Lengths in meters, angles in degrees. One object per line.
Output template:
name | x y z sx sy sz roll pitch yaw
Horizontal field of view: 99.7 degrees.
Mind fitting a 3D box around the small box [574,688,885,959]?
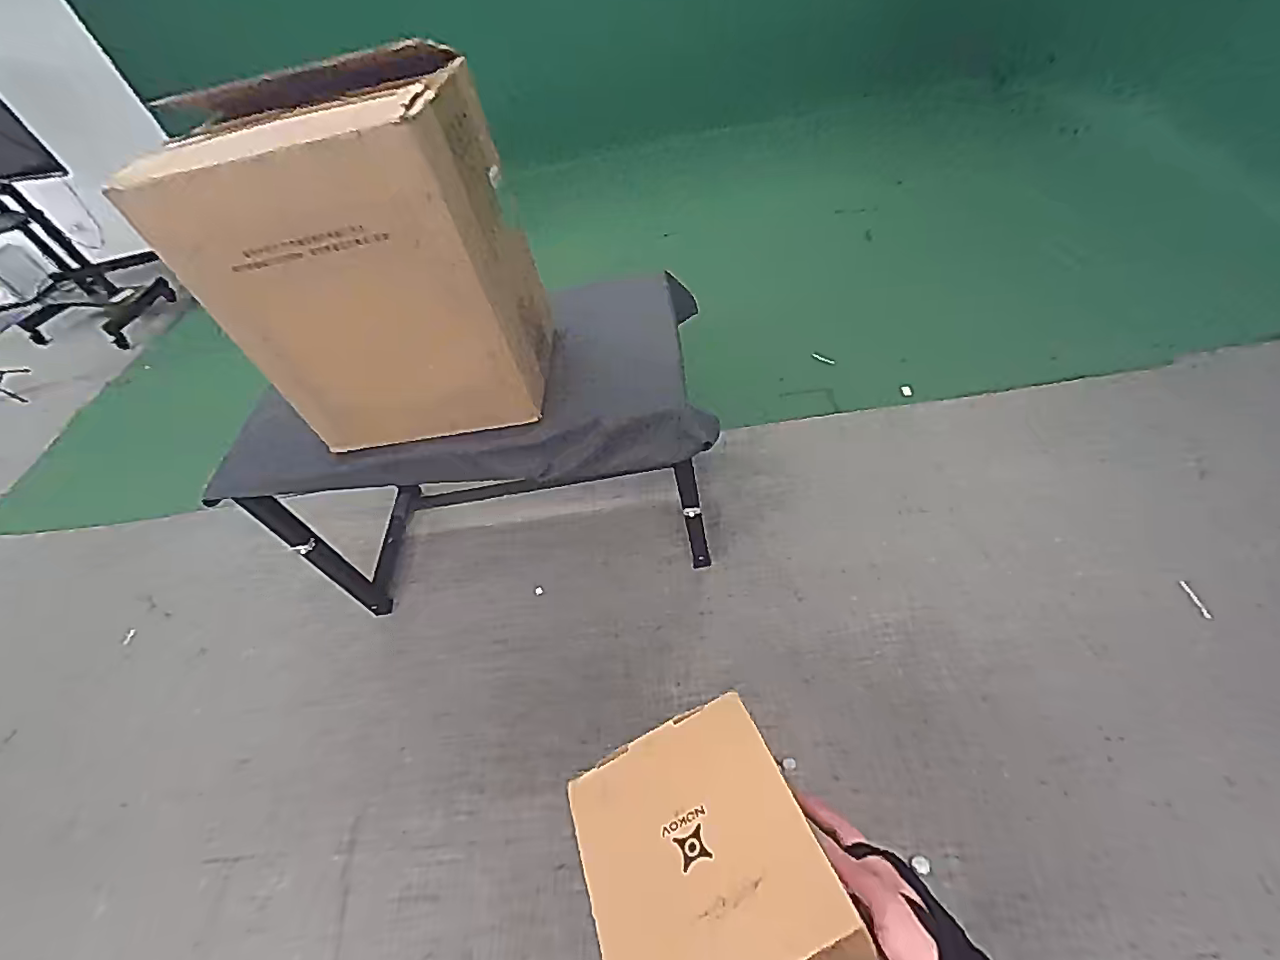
small box | 0.070 0.315 0.438 0.168 0.176 0.179 -29 37 -3
